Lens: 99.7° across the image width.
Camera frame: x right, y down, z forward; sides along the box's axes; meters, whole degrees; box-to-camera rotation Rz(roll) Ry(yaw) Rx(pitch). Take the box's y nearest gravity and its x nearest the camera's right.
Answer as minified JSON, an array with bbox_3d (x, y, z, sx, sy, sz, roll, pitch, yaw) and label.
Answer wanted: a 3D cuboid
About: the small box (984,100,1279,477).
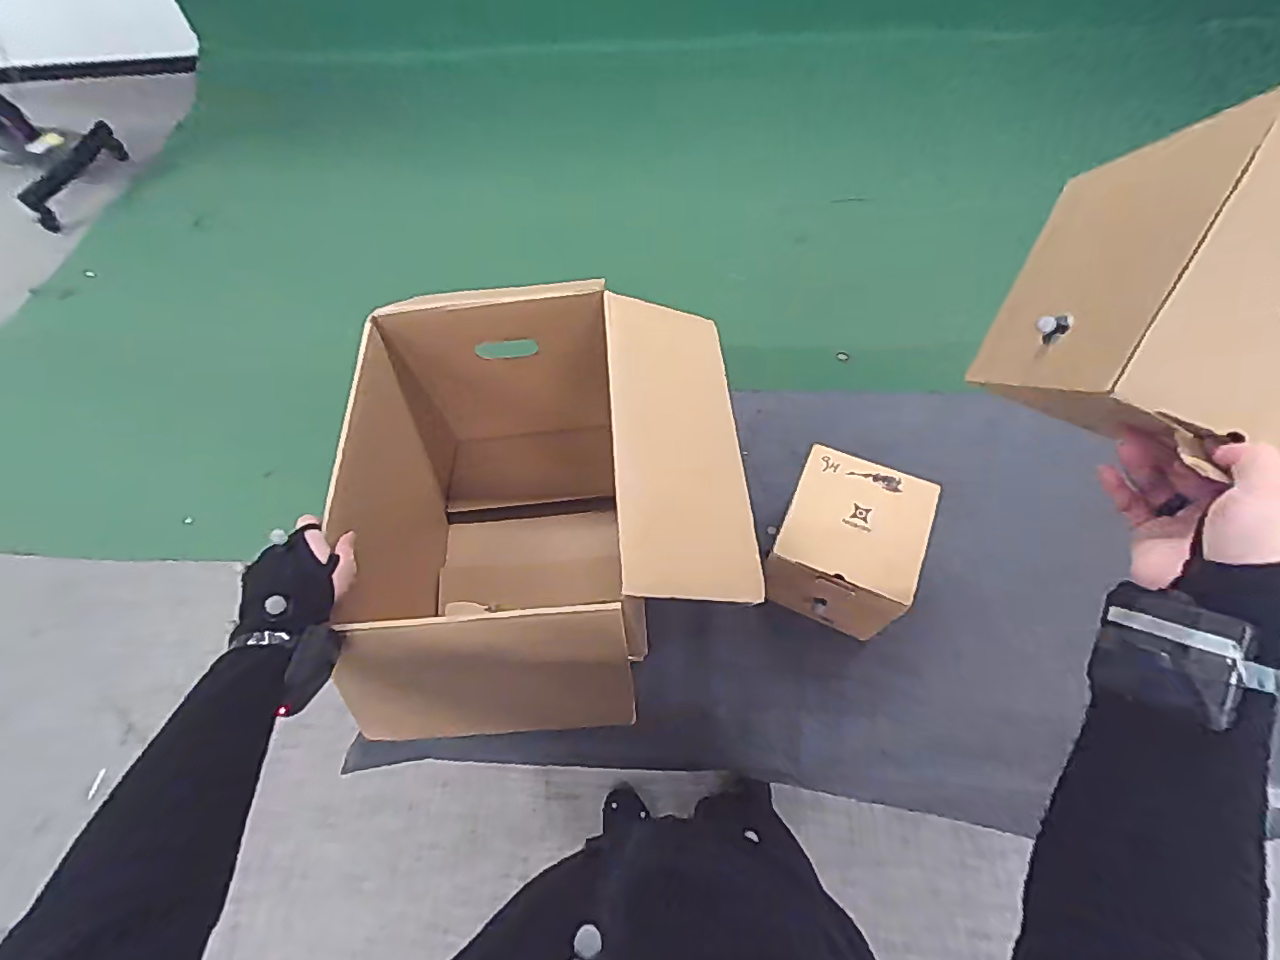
[{"bbox_3d":[0.394,-0.116,0.391,0.168,0.176,0.179,21,102,-1],"label":"small box"}]
